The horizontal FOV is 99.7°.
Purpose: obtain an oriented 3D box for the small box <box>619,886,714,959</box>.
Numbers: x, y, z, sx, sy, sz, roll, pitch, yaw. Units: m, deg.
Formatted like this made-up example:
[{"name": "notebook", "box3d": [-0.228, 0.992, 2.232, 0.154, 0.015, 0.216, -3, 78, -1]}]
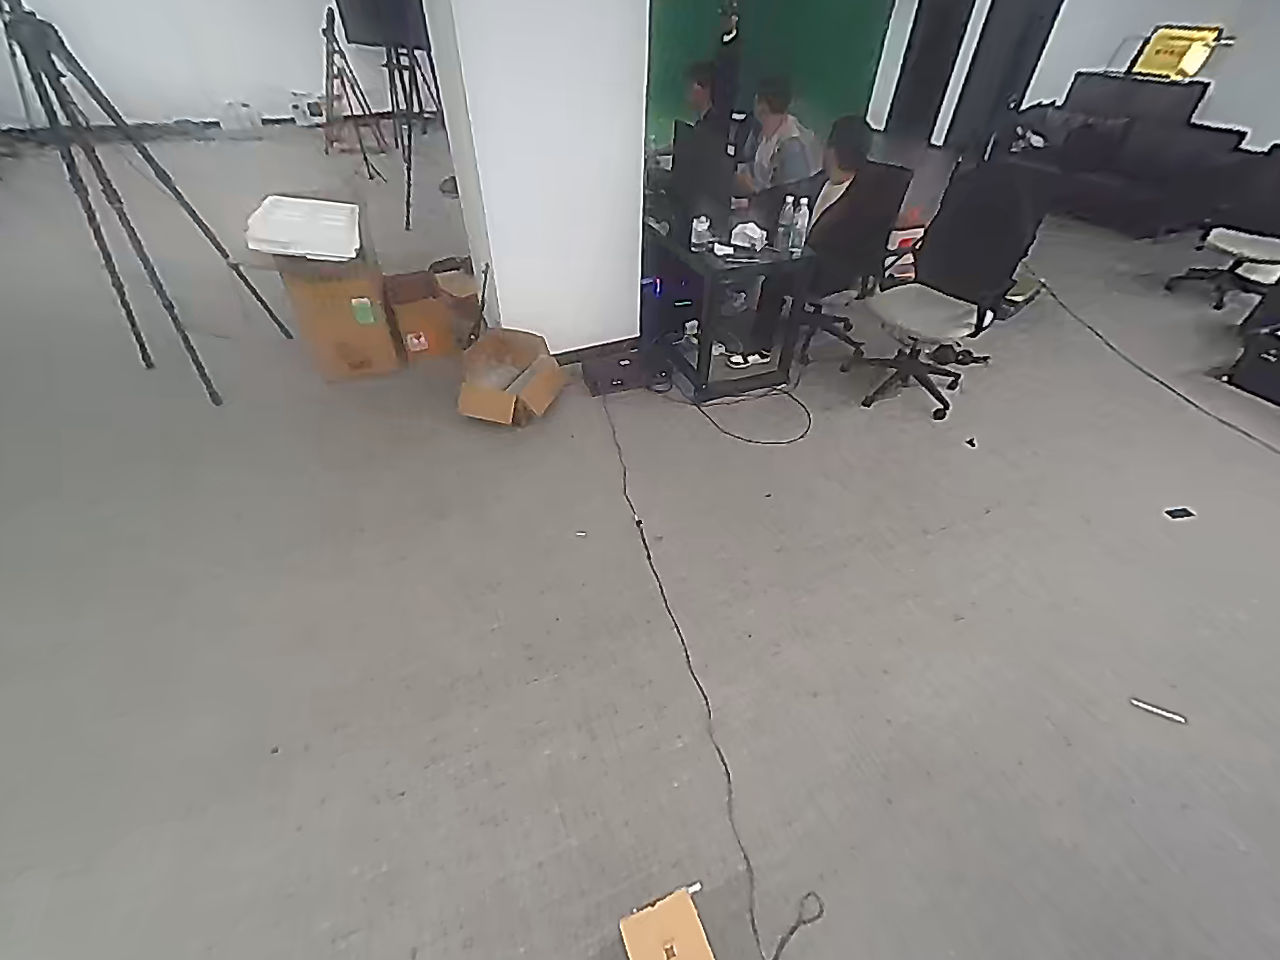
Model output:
[{"name": "small box", "box3d": [0.057, 1.039, 1.179, 0.168, 0.176, 0.179, -15, 45, -16]}]
